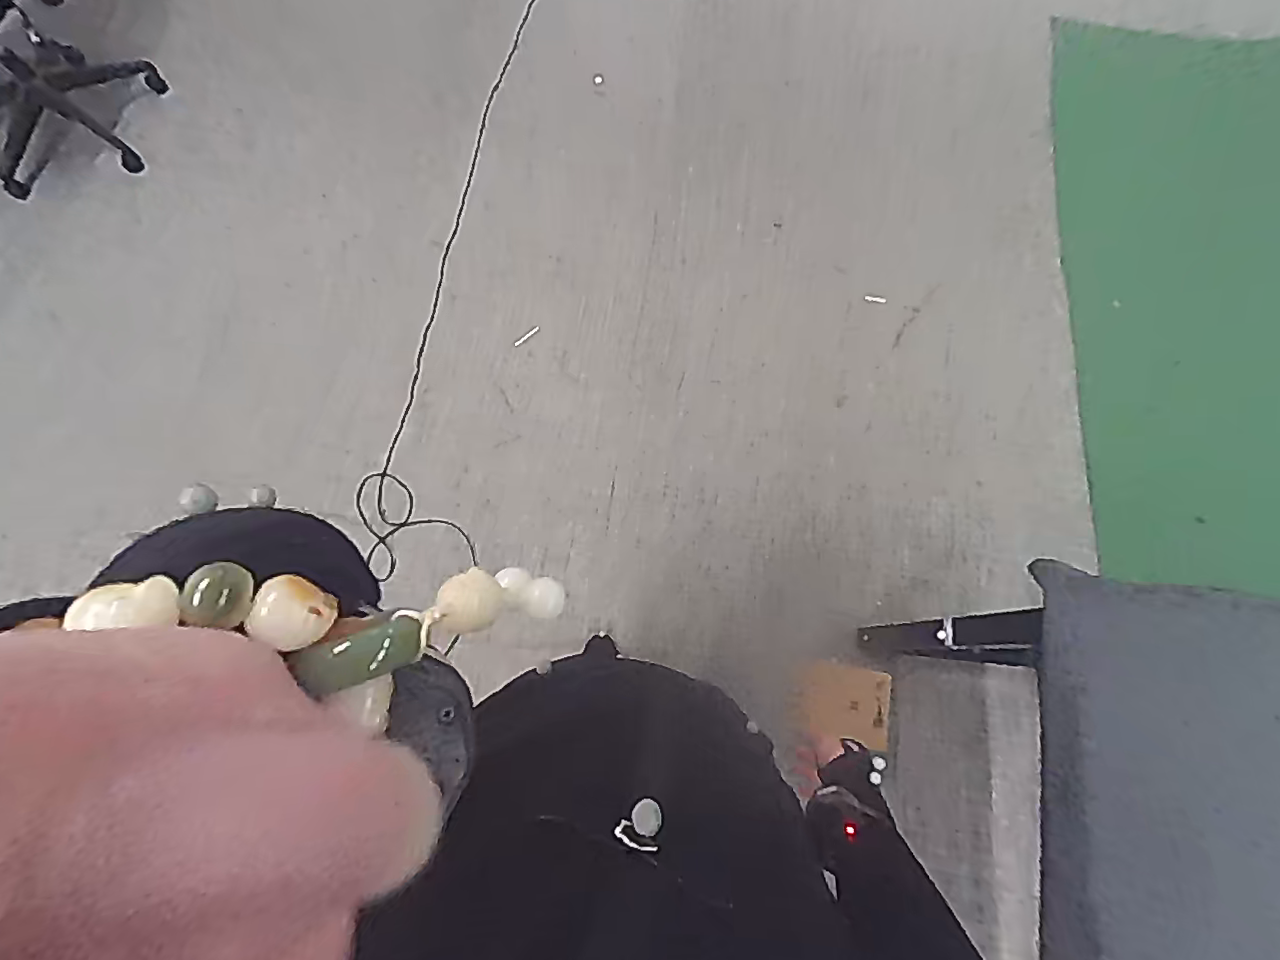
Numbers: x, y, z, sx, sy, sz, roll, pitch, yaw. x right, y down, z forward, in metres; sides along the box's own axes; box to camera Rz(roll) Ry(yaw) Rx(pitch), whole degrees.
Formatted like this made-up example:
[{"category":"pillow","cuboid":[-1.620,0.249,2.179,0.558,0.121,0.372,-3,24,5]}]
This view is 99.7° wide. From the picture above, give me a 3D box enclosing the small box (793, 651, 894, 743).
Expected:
[{"category":"small box","cuboid":[0.474,0.507,1.280,0.179,0.176,0.168,11,73,3]}]
